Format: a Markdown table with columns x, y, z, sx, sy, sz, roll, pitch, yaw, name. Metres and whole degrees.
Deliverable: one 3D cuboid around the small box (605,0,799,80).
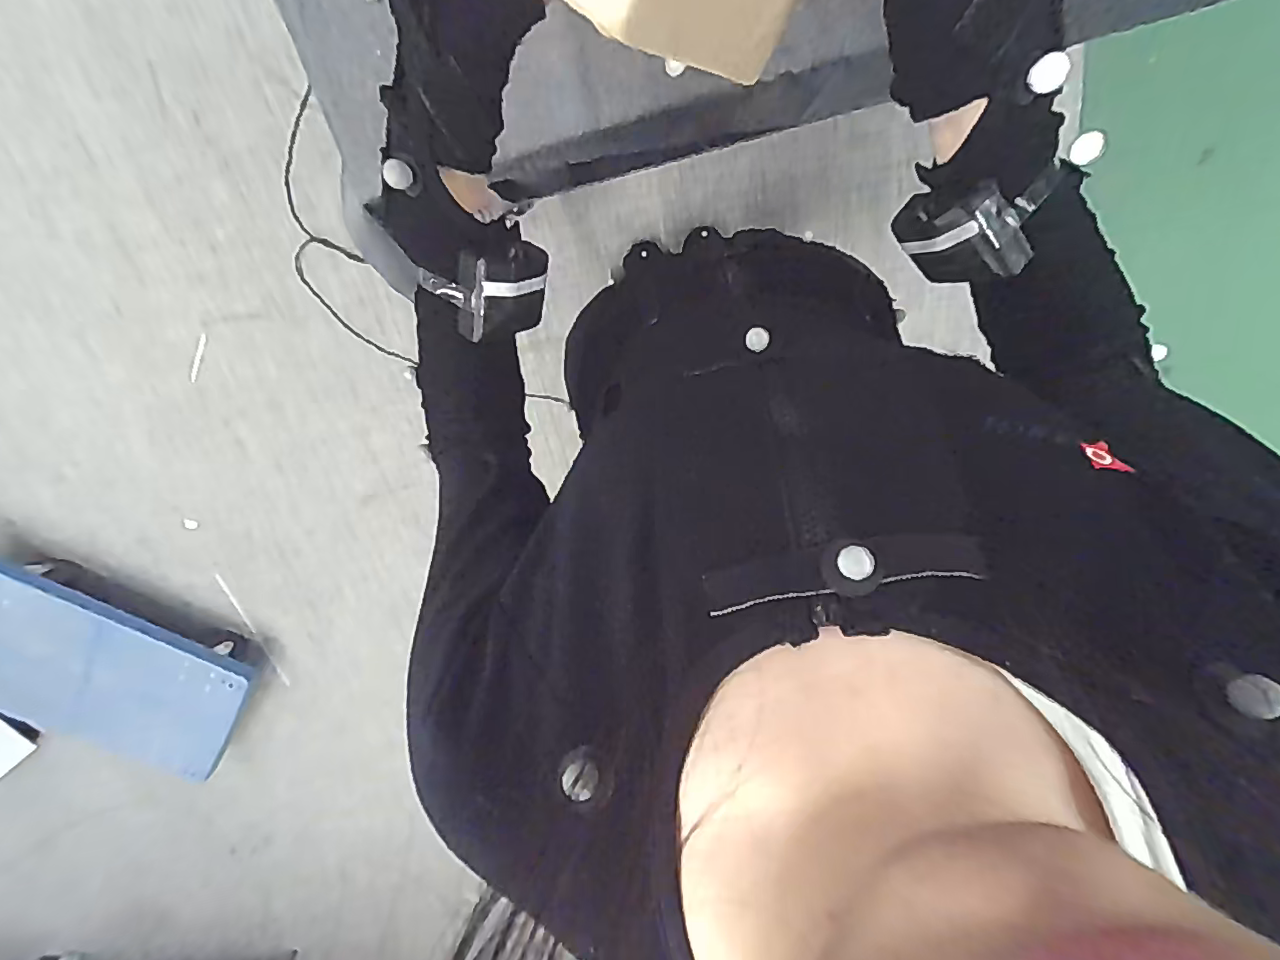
| x | y | z | sx | sy | sz | roll | pitch | yaw | name |
| --- | --- | --- | --- | --- | --- | --- | --- | --- | --- |
| 0.003 | -0.285 | 0.190 | 0.176 | 0.179 | 0.168 | 38 | 129 | 0 | small box |
